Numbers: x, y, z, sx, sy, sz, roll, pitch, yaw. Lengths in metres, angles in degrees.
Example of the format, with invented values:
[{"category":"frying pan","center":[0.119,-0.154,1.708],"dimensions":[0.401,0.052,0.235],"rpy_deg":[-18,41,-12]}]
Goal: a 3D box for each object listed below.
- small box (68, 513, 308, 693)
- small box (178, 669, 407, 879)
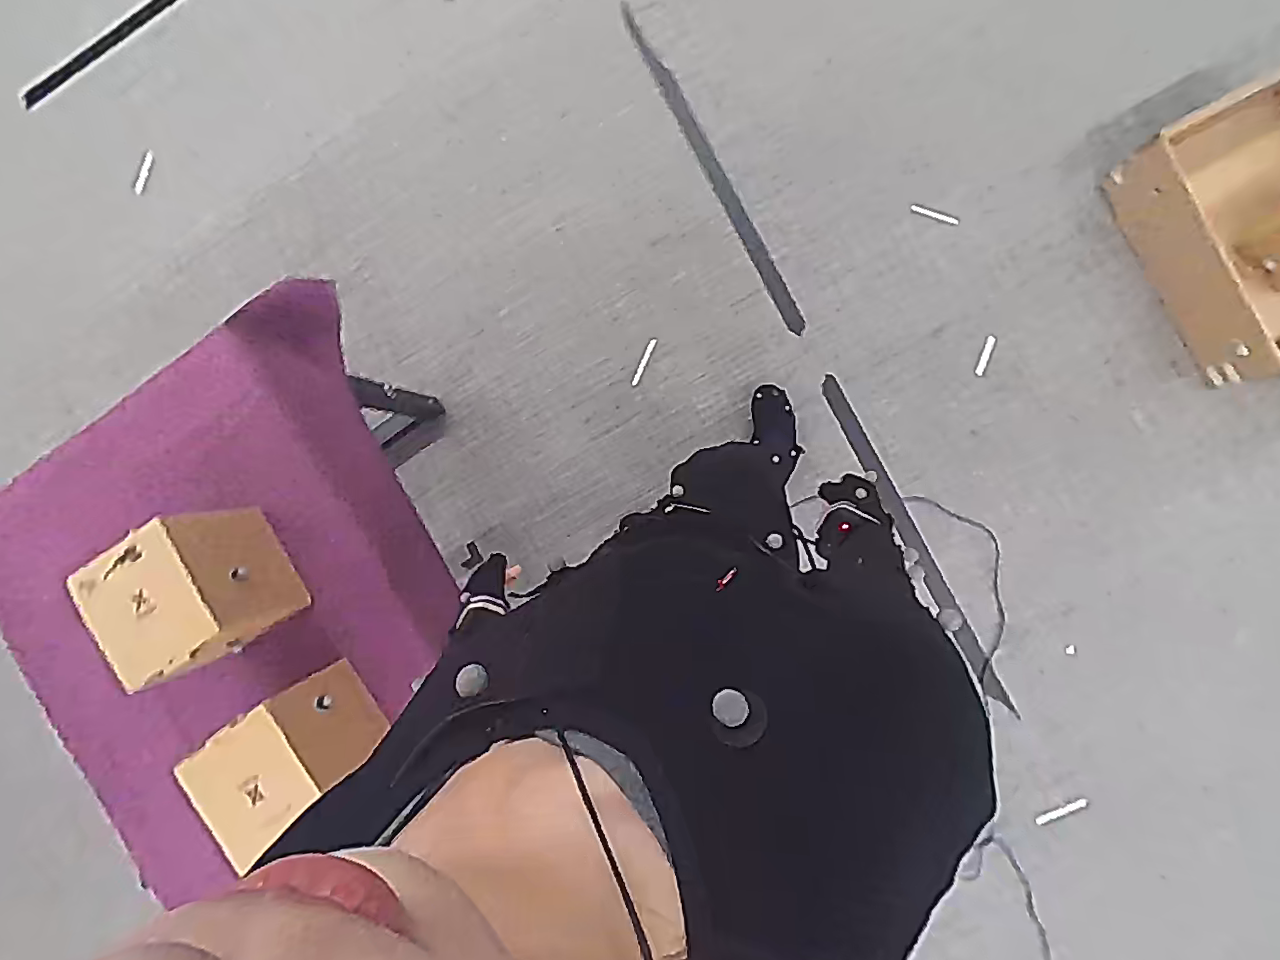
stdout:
[{"category":"small box","center":[-0.633,0.163,0.780],"dimensions":[0.168,0.176,0.179],"rpy_deg":[-32,88,5]},{"category":"small box","center":[-0.478,0.396,0.769],"dimensions":[0.168,0.176,0.179],"rpy_deg":[-37,88,7]}]
